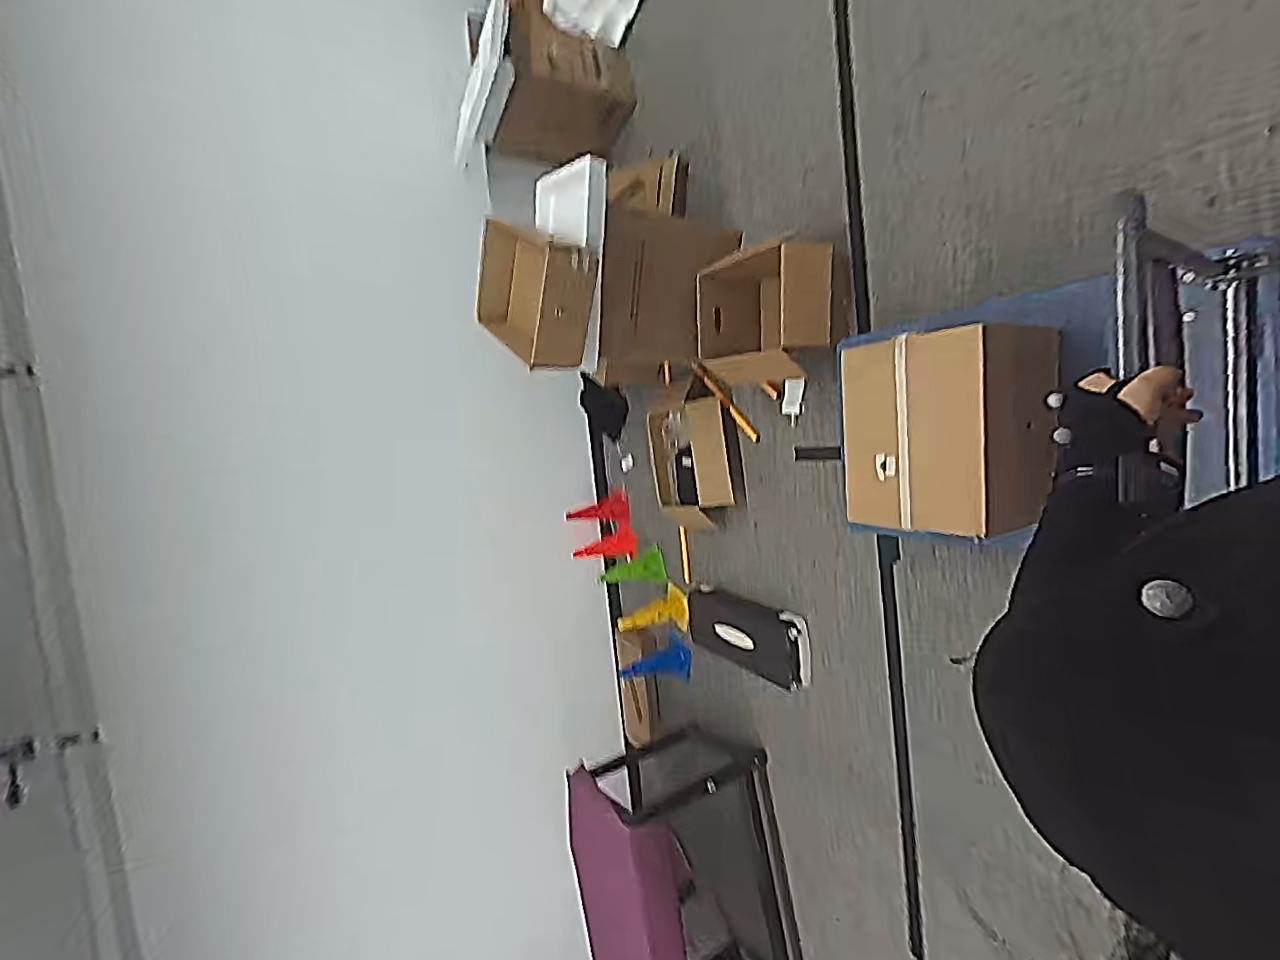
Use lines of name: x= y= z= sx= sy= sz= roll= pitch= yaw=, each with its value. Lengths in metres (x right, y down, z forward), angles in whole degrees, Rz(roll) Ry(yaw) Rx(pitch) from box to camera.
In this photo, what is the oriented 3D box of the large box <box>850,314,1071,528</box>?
large box: x=0.708 y=-0.130 z=1.201 sx=0.320 sy=0.320 sz=0.408 roll=4 pitch=102 yaw=60
